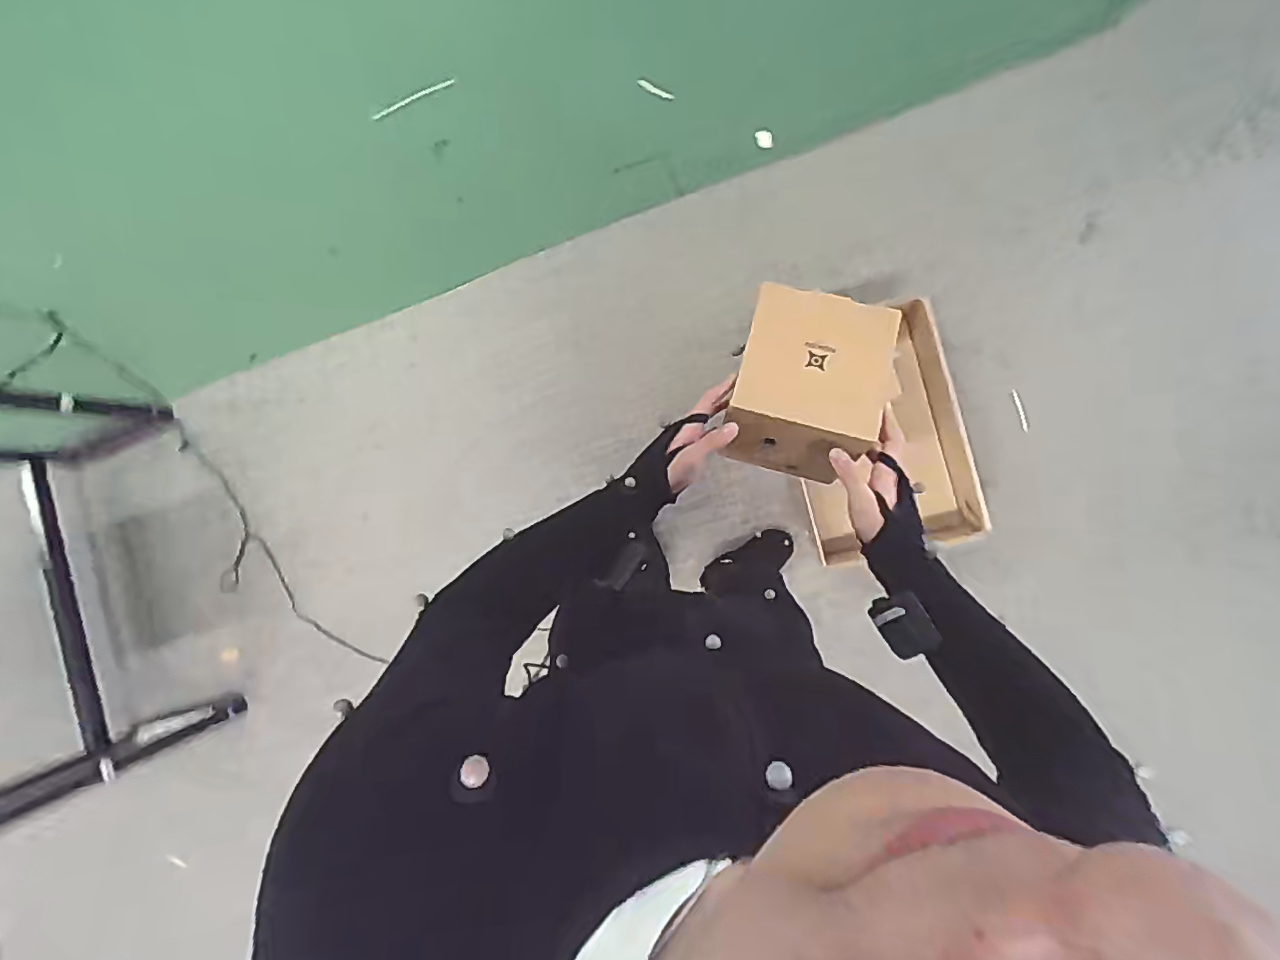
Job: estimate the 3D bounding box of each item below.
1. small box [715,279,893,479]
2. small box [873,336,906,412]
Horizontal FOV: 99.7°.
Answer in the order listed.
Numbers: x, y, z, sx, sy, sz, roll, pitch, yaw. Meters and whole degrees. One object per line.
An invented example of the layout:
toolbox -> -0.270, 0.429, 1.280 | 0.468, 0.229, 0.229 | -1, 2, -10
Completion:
small box -> 0.195, -0.117, 0.686 | 0.168, 0.176, 0.179 | 15, 73, 8
small box -> 0.555, -0.250, 1.392 | 0.179, 0.176, 0.168 | -15, 89, 12
